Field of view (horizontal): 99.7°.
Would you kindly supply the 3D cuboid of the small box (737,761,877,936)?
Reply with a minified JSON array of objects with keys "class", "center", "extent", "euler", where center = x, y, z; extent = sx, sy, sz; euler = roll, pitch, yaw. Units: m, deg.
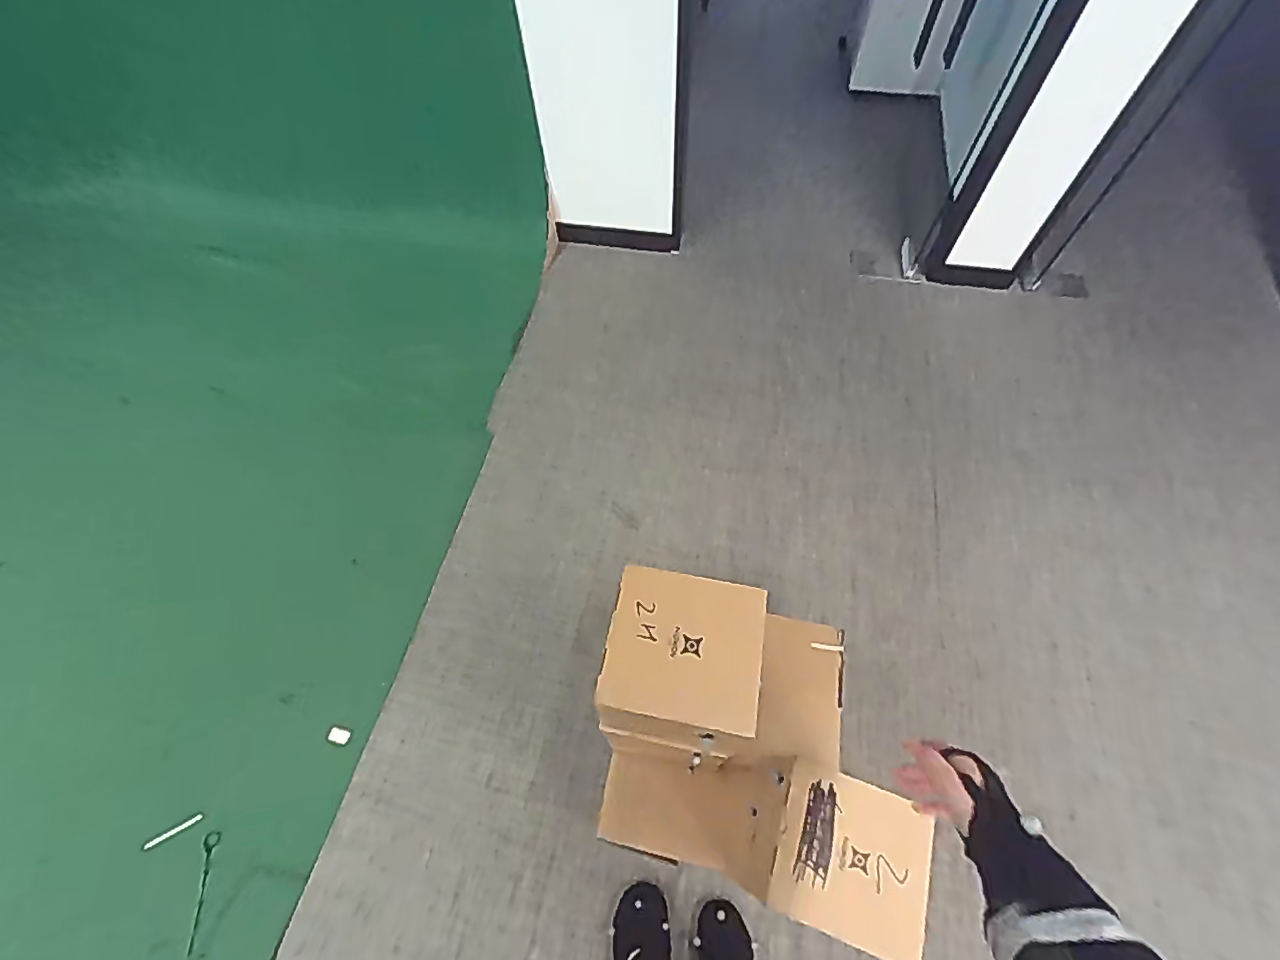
[{"class":"small box","center":[0.255,0.564,0.848],"extent":[0.168,0.176,0.179],"euler":[13,60,9]}]

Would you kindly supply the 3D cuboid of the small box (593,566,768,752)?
[{"class":"small box","center":[0.052,0.229,0.676],"extent":[0.179,0.176,0.168],"euler":[10,58,8]}]

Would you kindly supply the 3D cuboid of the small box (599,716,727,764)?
[{"class":"small box","center":[0.046,0.319,0.815],"extent":[0.179,0.176,0.168],"euler":[9,58,6]}]

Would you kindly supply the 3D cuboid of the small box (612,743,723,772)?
[{"class":"small box","center":[0.057,0.406,0.951],"extent":[0.179,0.176,0.168],"euler":[7,58,7]}]
